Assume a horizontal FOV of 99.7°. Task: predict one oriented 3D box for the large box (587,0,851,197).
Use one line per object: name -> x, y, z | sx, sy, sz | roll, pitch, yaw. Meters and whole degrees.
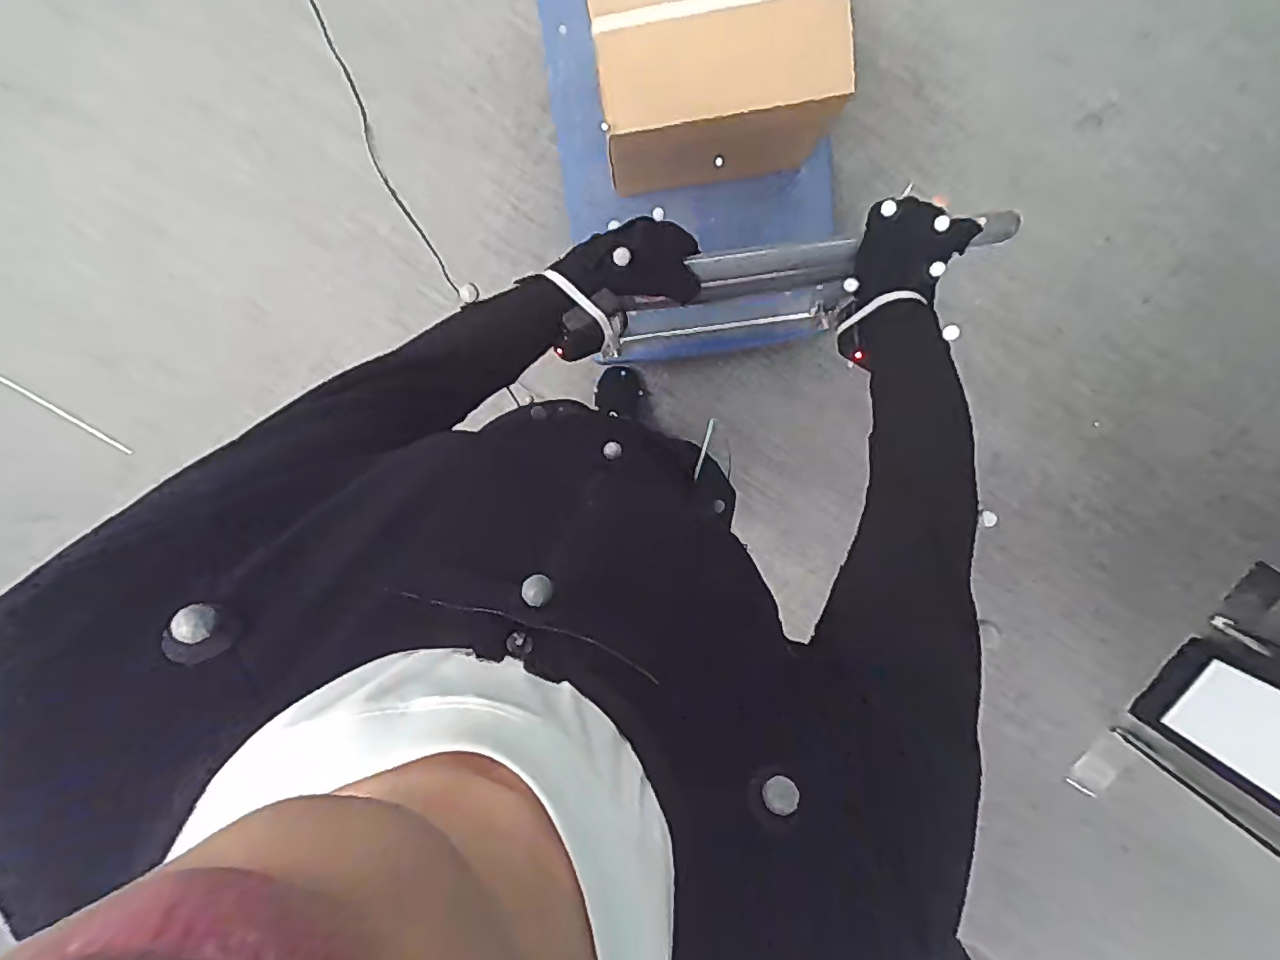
large box -> 0.128, -0.768, 1.008 | 0.408, 0.320, 0.320 | -9, 100, 3
